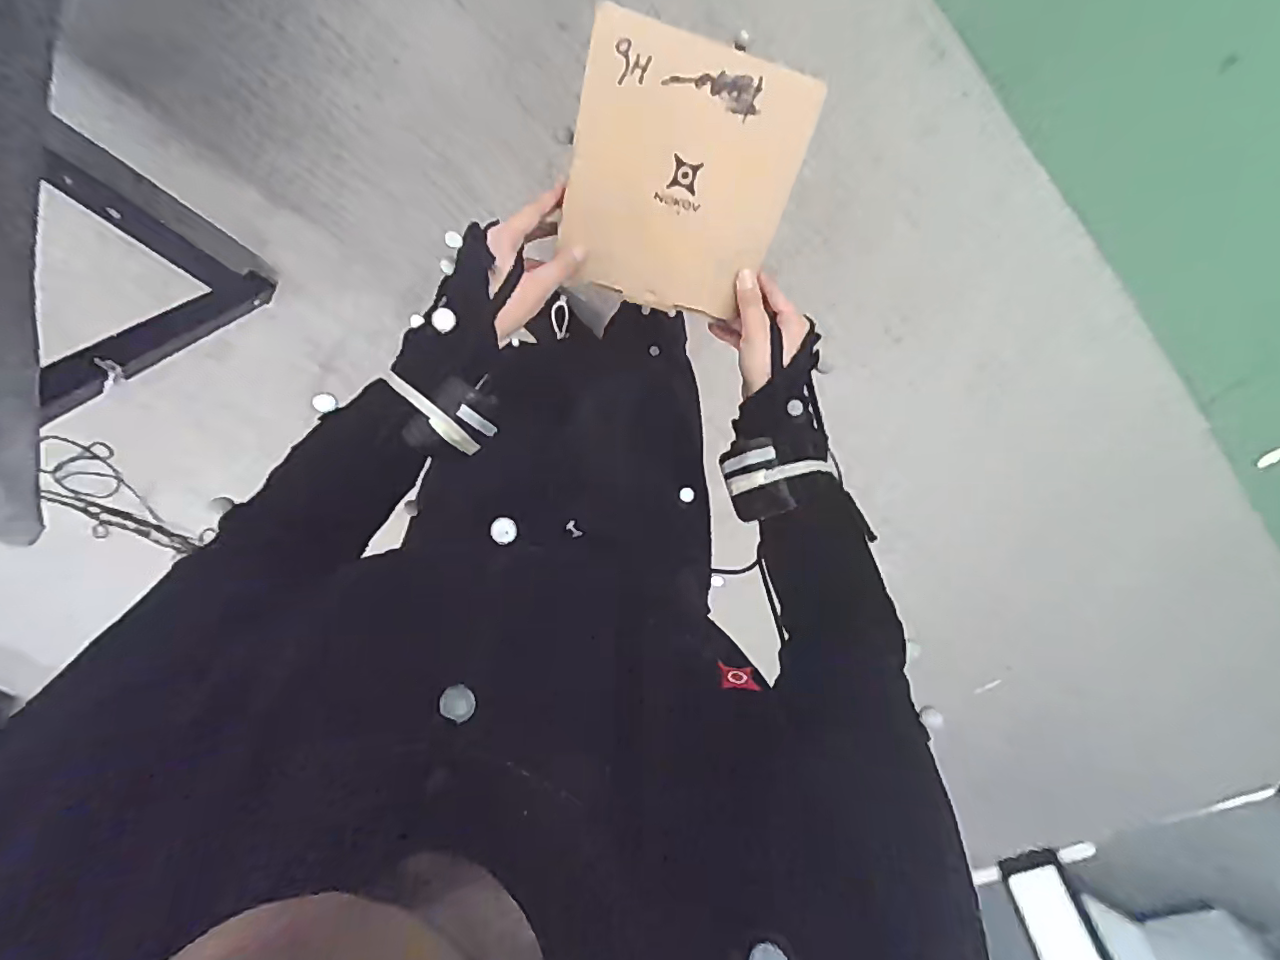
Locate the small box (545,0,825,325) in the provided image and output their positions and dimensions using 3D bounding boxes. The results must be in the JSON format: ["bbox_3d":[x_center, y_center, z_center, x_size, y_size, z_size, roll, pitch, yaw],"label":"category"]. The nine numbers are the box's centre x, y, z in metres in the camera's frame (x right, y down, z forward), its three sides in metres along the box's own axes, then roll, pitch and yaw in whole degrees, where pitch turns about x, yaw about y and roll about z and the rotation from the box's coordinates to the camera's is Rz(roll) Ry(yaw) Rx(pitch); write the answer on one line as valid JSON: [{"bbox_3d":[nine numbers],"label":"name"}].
[{"bbox_3d":[0.021,-0.261,0.456,0.168,0.176,0.179,10,126,-12],"label":"small box"}]
